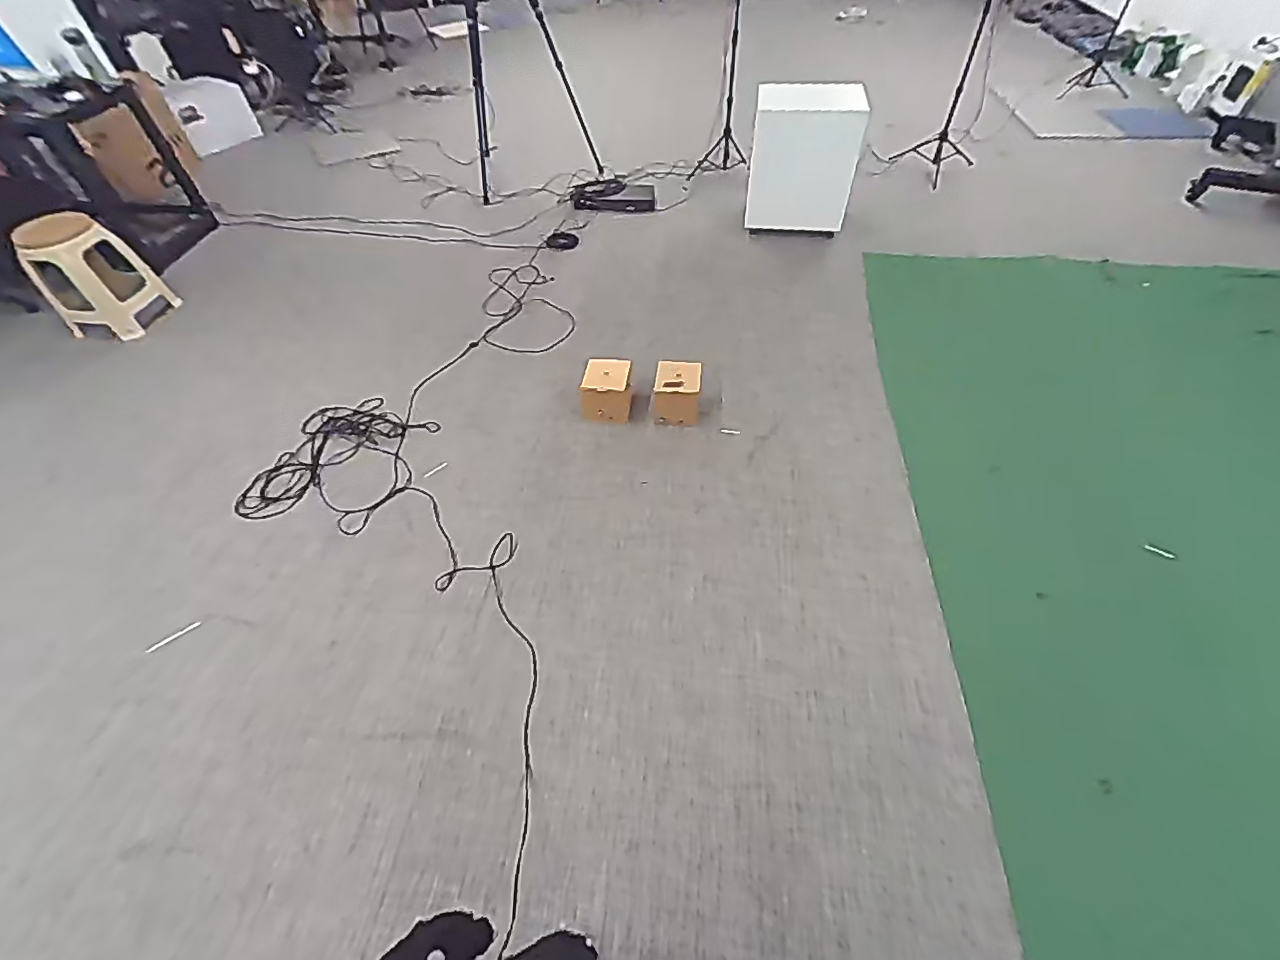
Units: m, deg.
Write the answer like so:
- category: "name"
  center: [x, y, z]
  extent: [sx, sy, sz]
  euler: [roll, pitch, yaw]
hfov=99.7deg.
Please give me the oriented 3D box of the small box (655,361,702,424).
- category: "small box"
  center: [0.149, -0.332, 2.068]
  extent: [0.168, 0.176, 0.179]
  euler: [4, 50, 6]

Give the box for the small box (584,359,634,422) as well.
- category: "small box"
  center: [-0.115, -0.347, 2.098]
  extent: [0.168, 0.176, 0.179]
  euler: [4, 51, 7]
